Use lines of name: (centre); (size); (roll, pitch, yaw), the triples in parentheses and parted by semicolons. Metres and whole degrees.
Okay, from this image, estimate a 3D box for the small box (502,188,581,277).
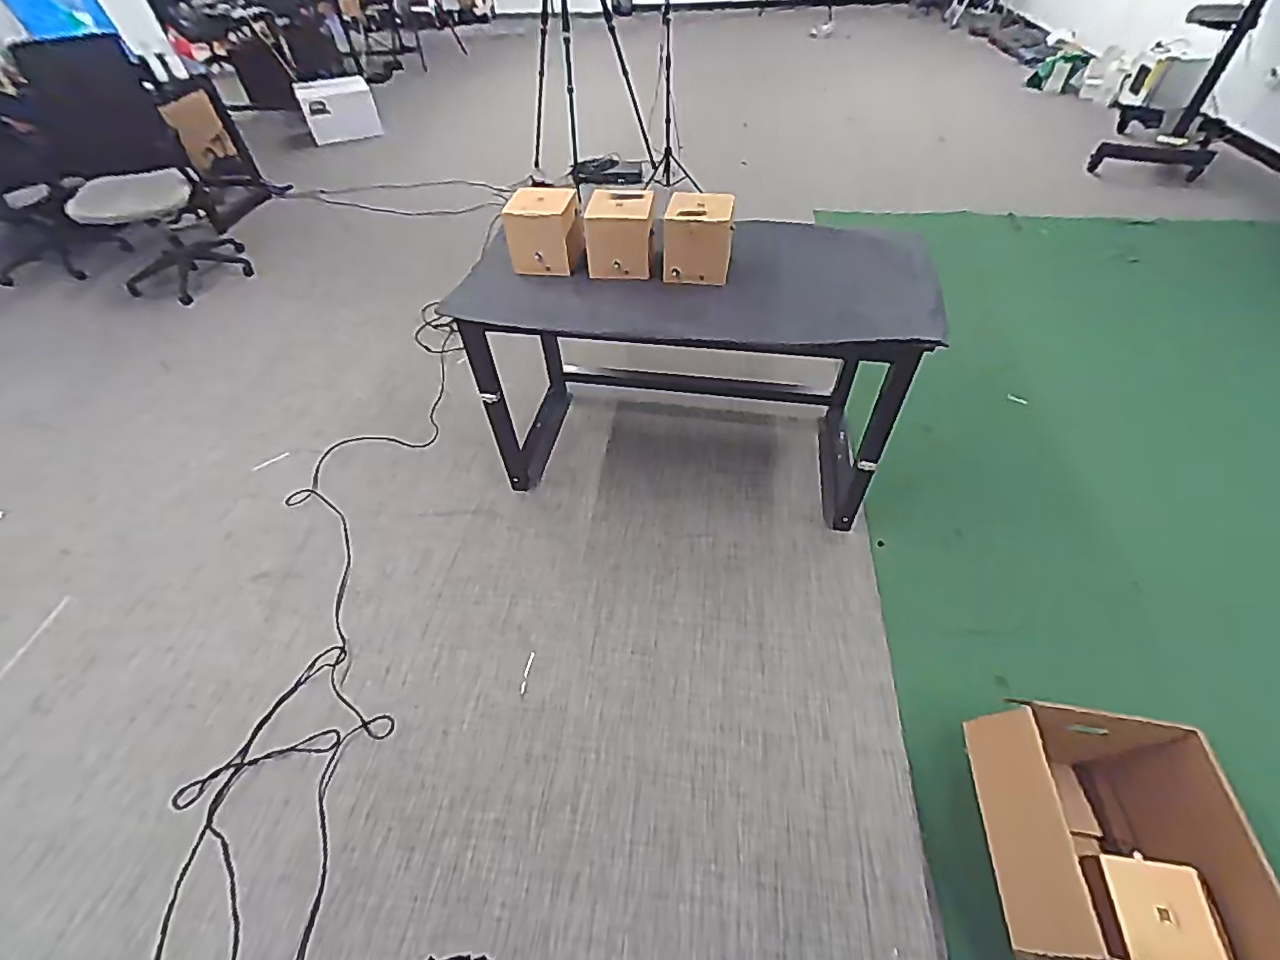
small box: (-0.263, -0.686, 1.496); (0.168, 0.176, 0.179); (5, 49, 7)
